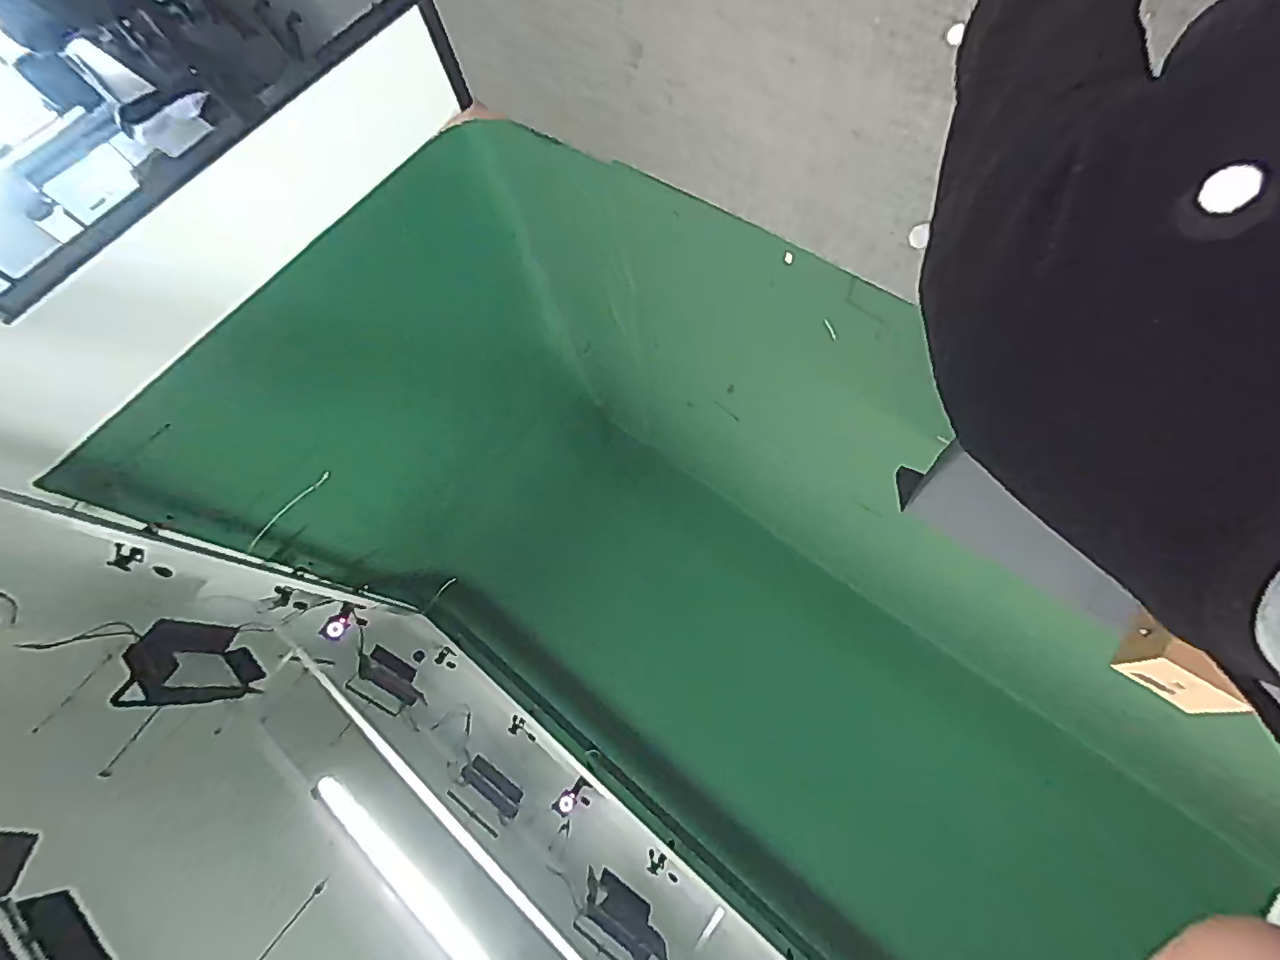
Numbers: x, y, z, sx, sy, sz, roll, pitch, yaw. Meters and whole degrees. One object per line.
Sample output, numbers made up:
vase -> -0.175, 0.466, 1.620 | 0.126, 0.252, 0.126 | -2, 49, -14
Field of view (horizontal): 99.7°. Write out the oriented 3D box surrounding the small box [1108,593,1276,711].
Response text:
small box -> 1.176, 0.368, 1.156 | 0.168, 0.176, 0.179 | 34, 165, 21
